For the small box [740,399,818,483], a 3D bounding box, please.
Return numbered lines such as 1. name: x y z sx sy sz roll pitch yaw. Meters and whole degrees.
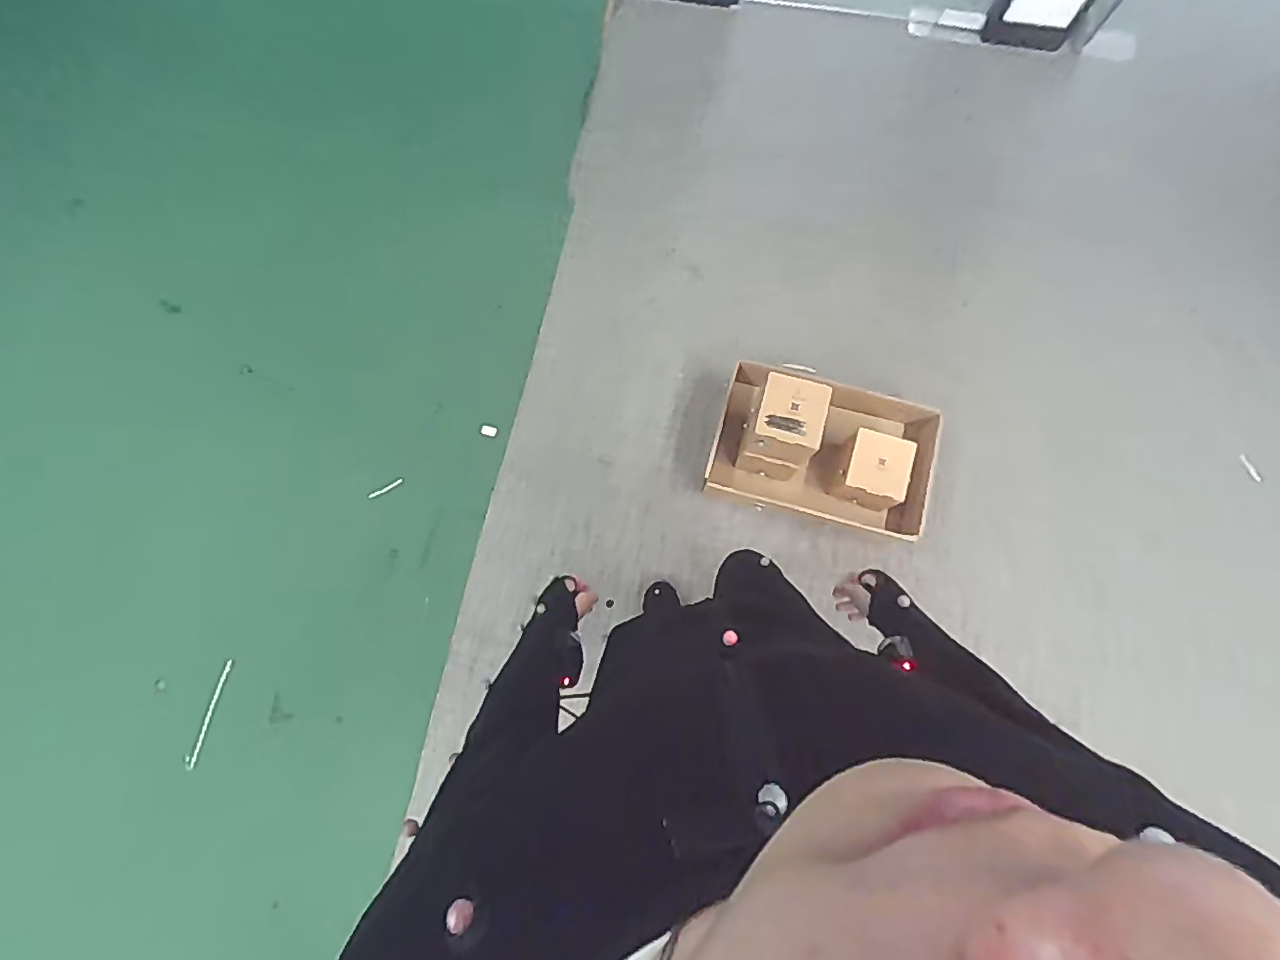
1. small box: 0.400 -0.108 1.583 0.168 0.176 0.179 16 78 5
